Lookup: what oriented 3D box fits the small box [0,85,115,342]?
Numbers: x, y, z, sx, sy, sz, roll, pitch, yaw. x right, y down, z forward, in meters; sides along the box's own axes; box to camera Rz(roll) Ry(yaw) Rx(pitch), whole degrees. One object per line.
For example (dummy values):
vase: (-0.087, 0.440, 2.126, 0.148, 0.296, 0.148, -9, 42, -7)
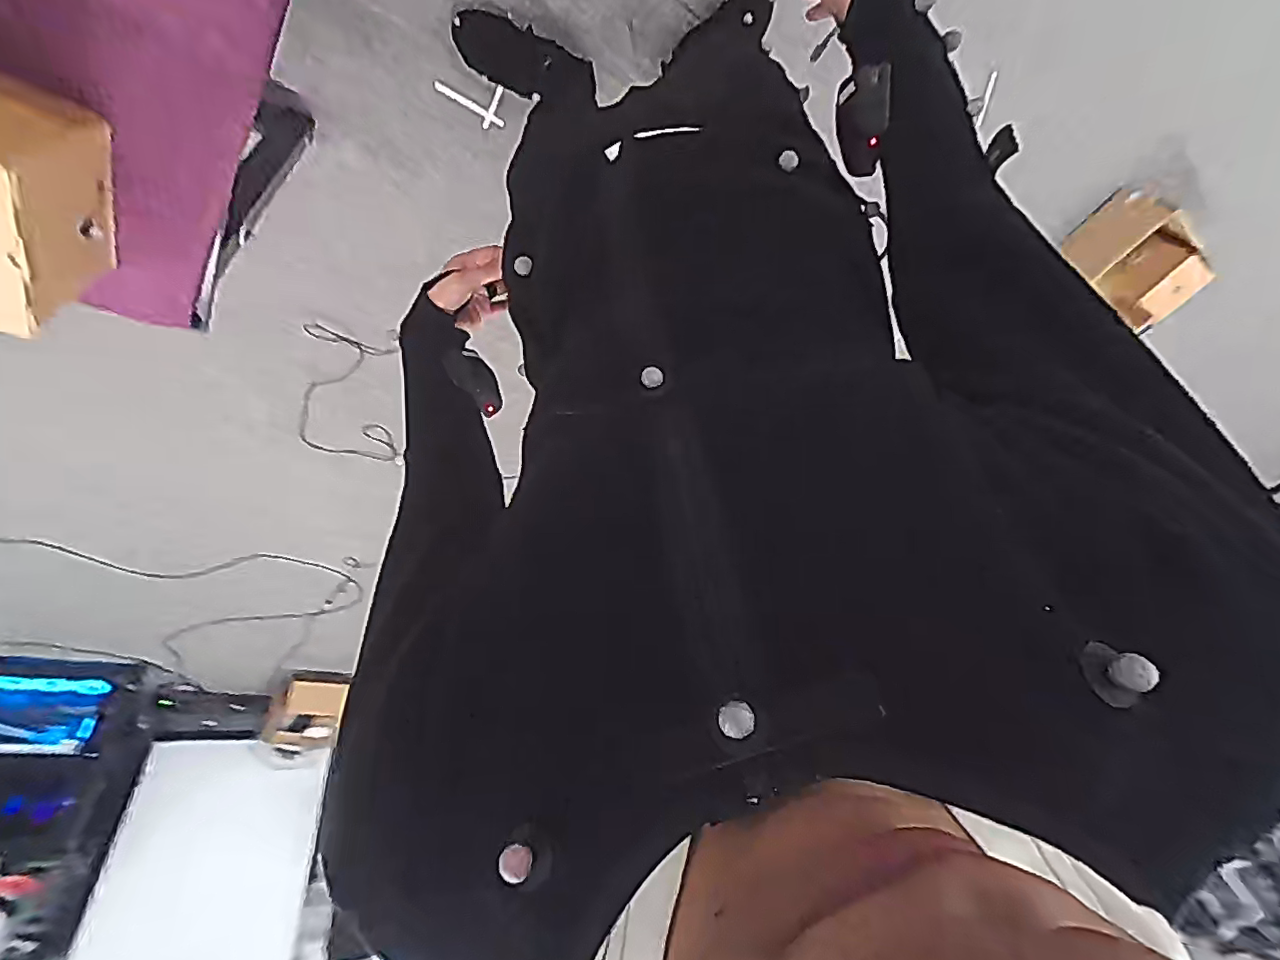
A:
small box: (-0.626, -0.260, 0.486, 0.179, 0.176, 0.168, 14, 129, -29)
